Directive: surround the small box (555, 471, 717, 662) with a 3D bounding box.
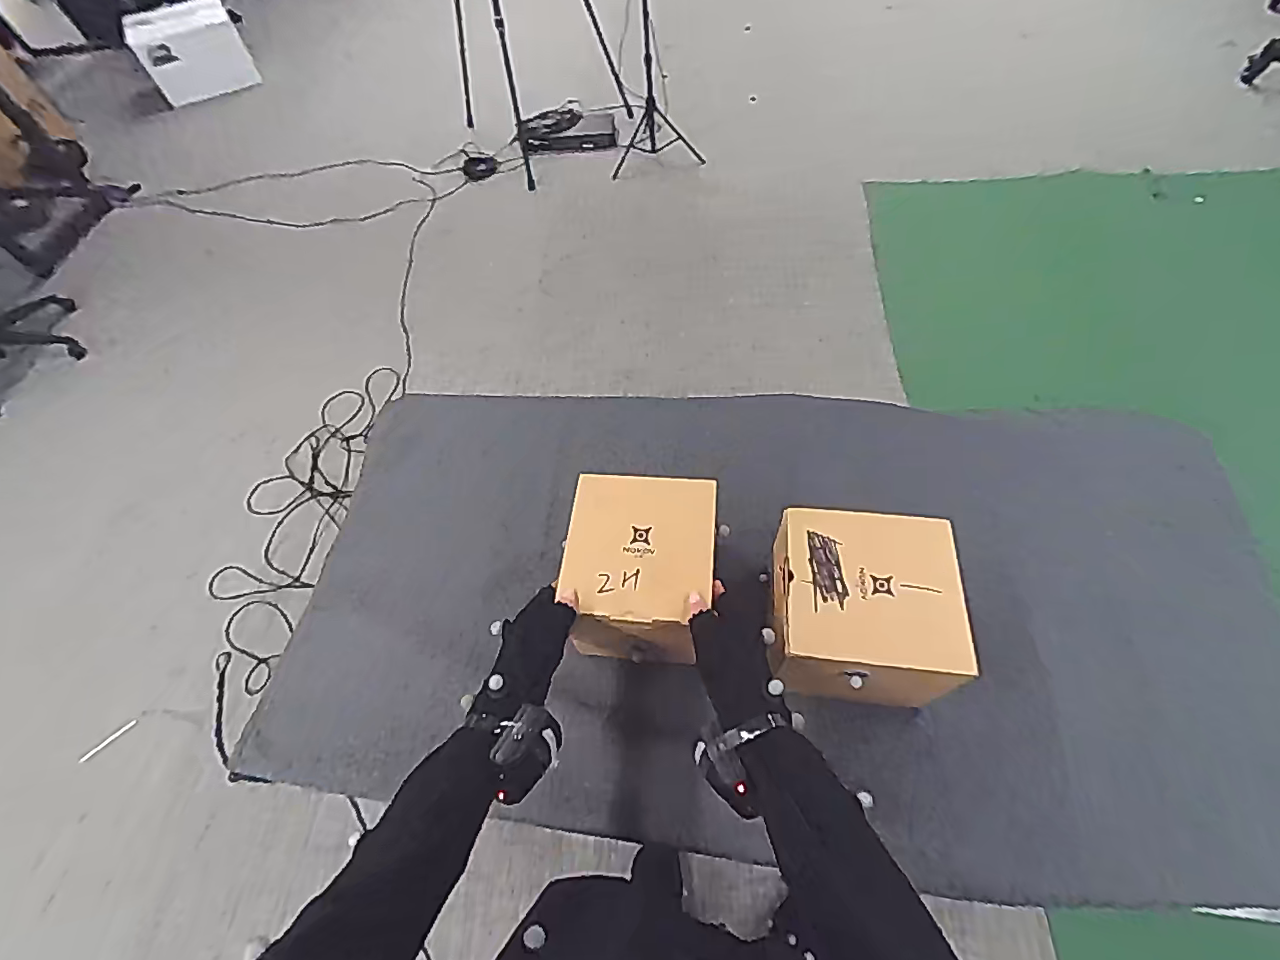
[{"bbox_3d":[0.006,0.109,0.667,0.168,0.176,0.179,2,58,8],"label":"small box"}]
